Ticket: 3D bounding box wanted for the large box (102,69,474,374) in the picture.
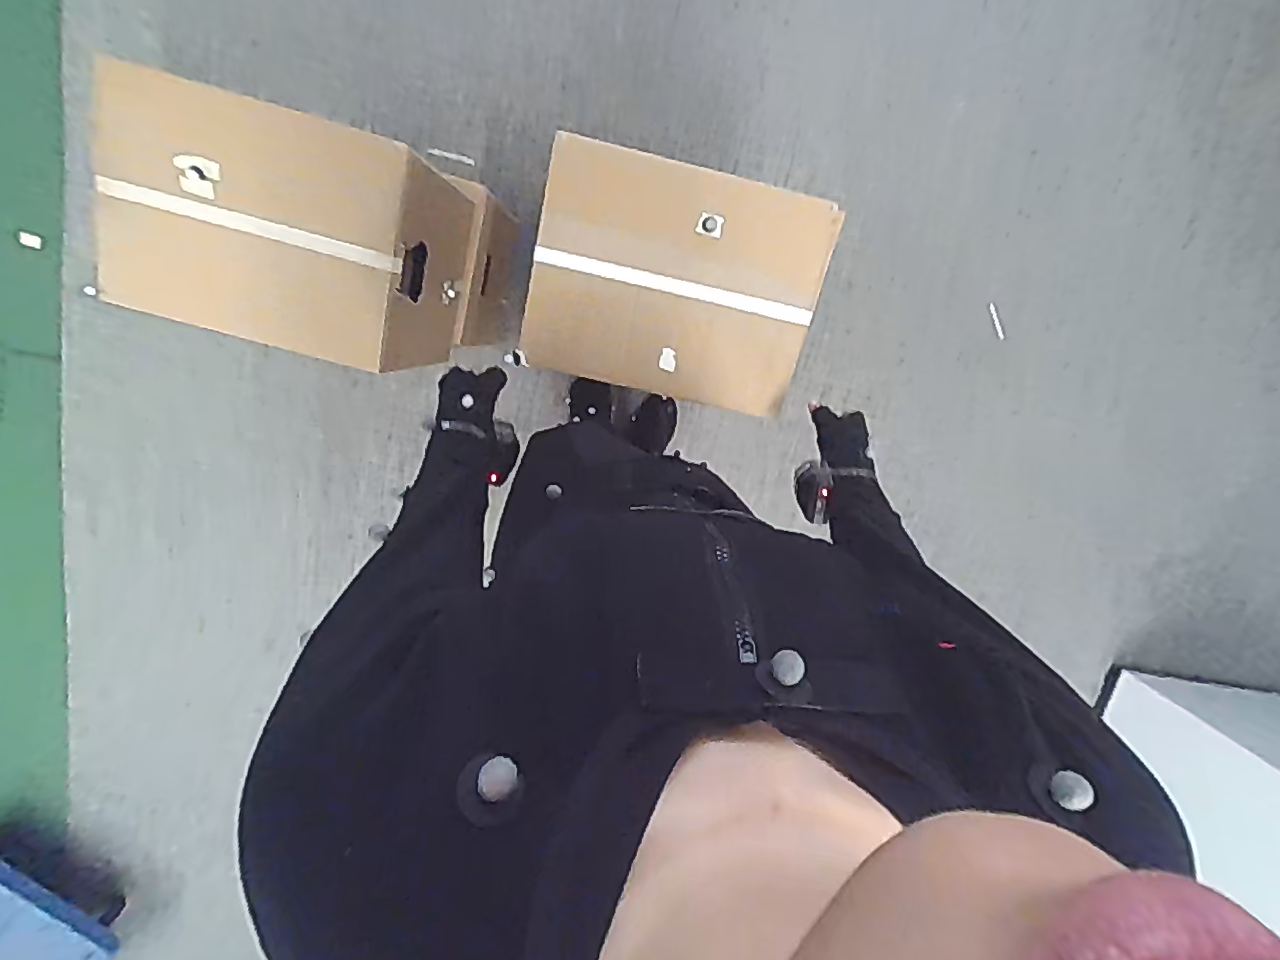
[{"bbox_3d":[-0.533,-0.384,0.890,0.408,0.320,0.320,15,104,-3],"label":"large box"}]
